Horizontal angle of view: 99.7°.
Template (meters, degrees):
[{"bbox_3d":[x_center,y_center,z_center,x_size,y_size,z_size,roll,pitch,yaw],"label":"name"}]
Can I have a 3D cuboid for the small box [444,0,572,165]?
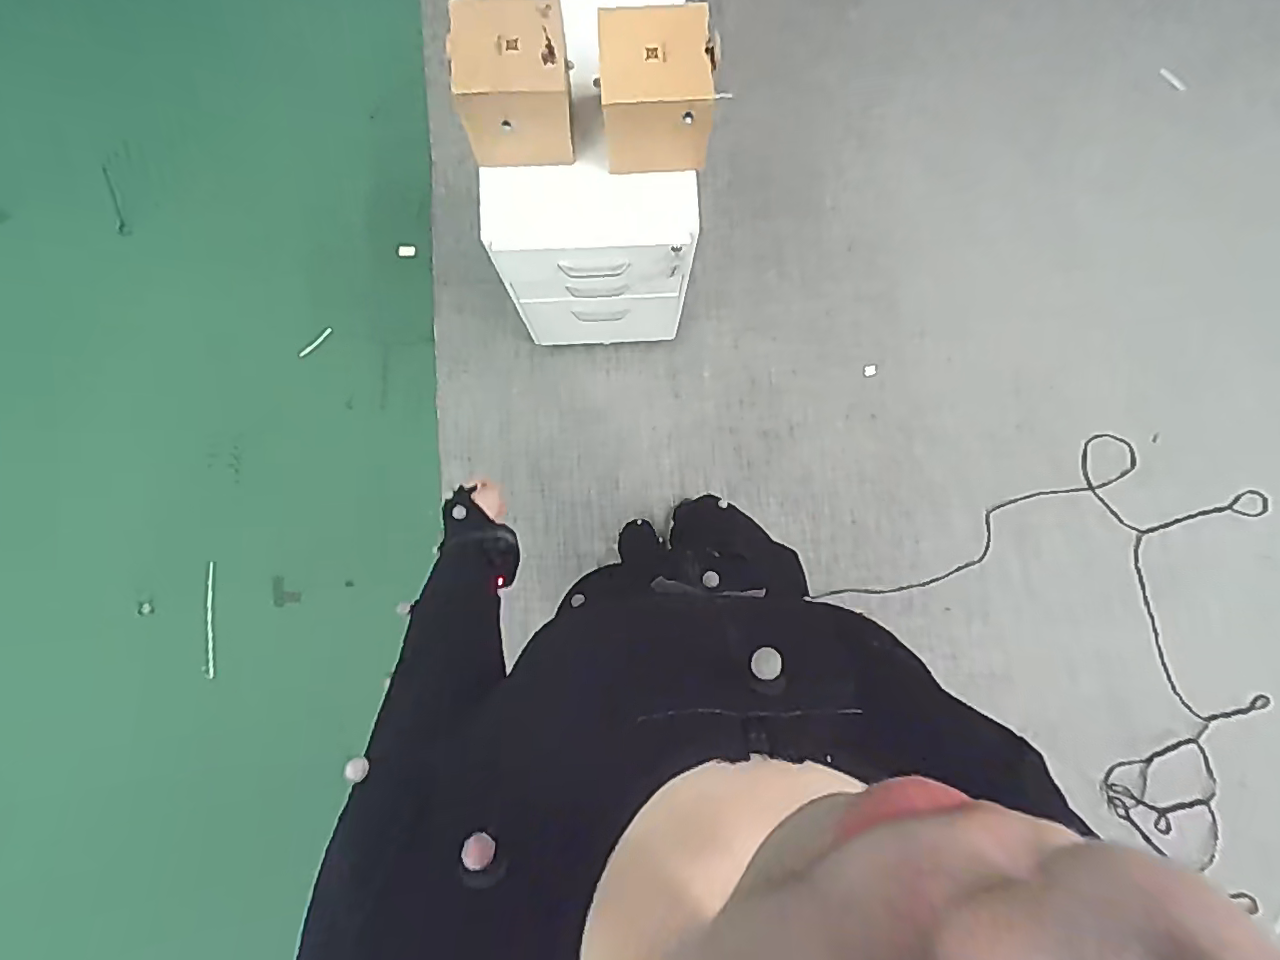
[{"bbox_3d":[-0.212,-0.657,0.905,0.179,0.176,0.168,-3,85,-2],"label":"small box"}]
